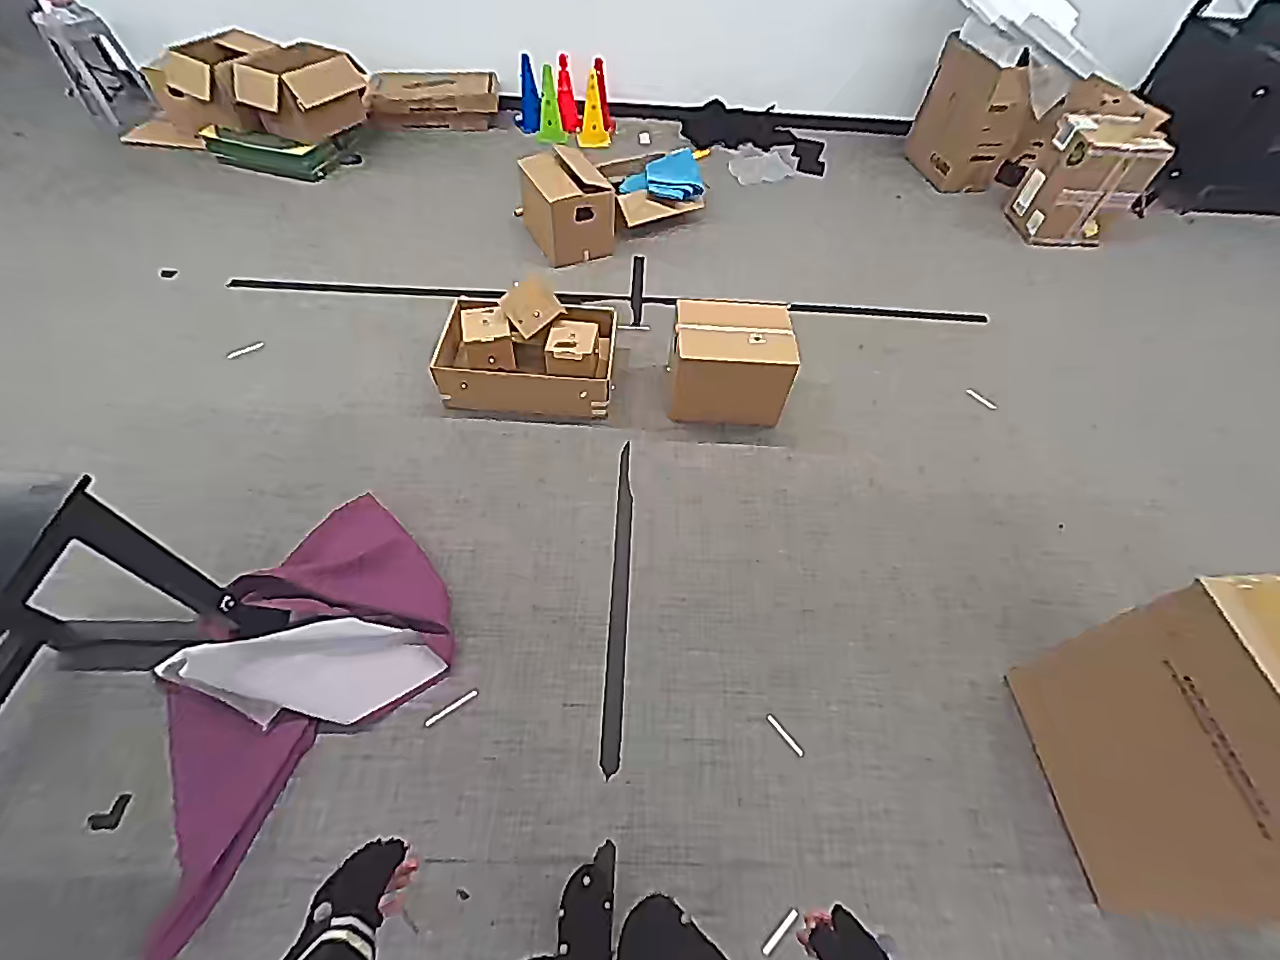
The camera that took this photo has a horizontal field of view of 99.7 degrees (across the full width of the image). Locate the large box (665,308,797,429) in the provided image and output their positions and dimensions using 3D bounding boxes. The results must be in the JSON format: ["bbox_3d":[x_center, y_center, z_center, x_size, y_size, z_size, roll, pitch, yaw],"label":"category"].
[{"bbox_3d":[0.312,-0.402,1.986,0.408,0.320,0.320,3,54,-3],"label":"large box"}]
